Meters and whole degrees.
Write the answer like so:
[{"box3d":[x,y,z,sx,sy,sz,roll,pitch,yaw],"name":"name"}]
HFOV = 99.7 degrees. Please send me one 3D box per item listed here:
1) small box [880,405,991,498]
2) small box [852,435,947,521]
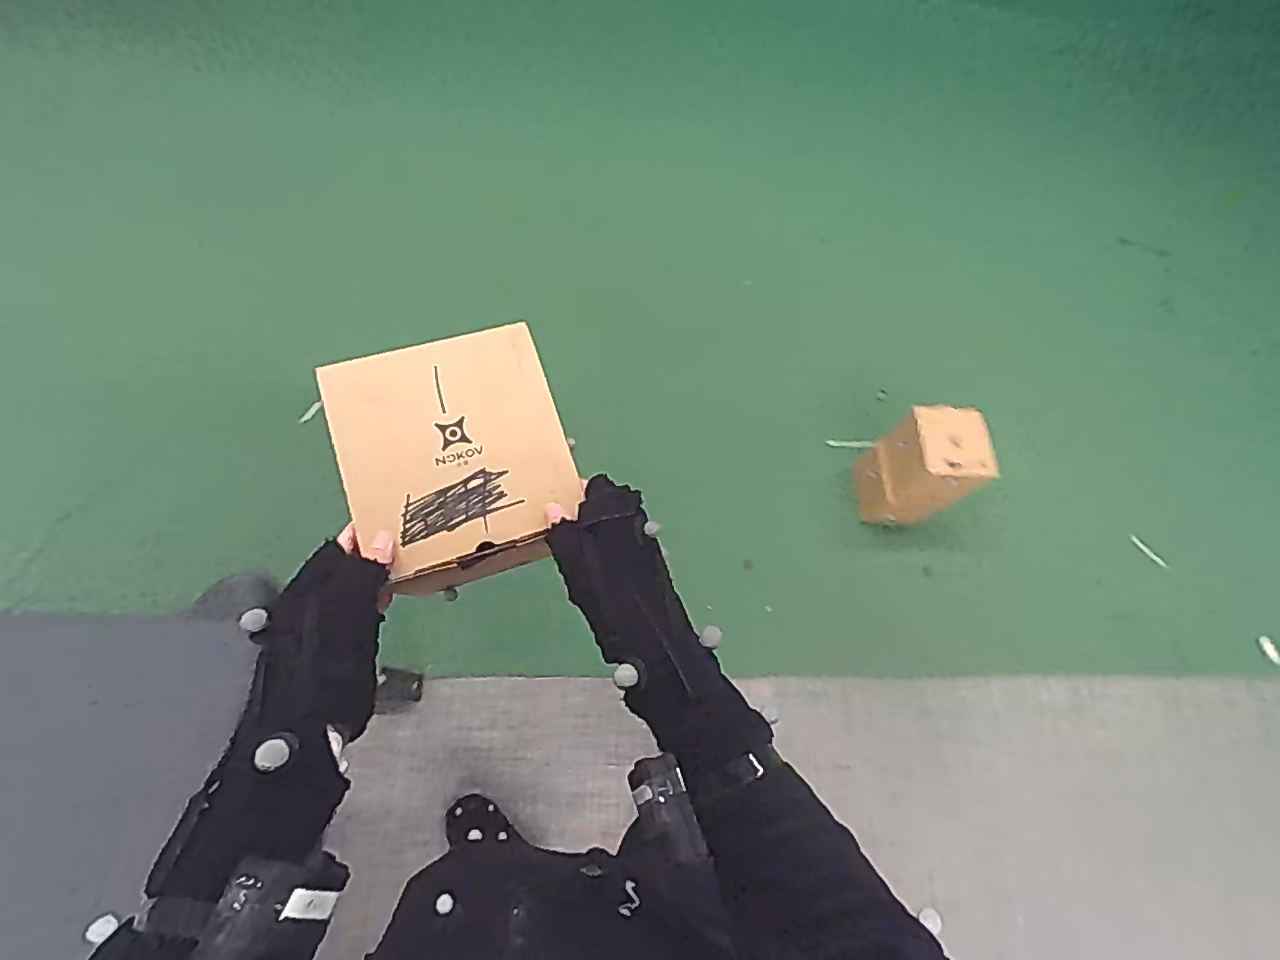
[{"box3d":[0.716,-0.064,1.336,0.168,0.176,0.179,2,66,-5],"name":"small box"},{"box3d":[0.692,-0.002,1.465,0.168,0.176,0.179,4,67,-2],"name":"small box"}]
